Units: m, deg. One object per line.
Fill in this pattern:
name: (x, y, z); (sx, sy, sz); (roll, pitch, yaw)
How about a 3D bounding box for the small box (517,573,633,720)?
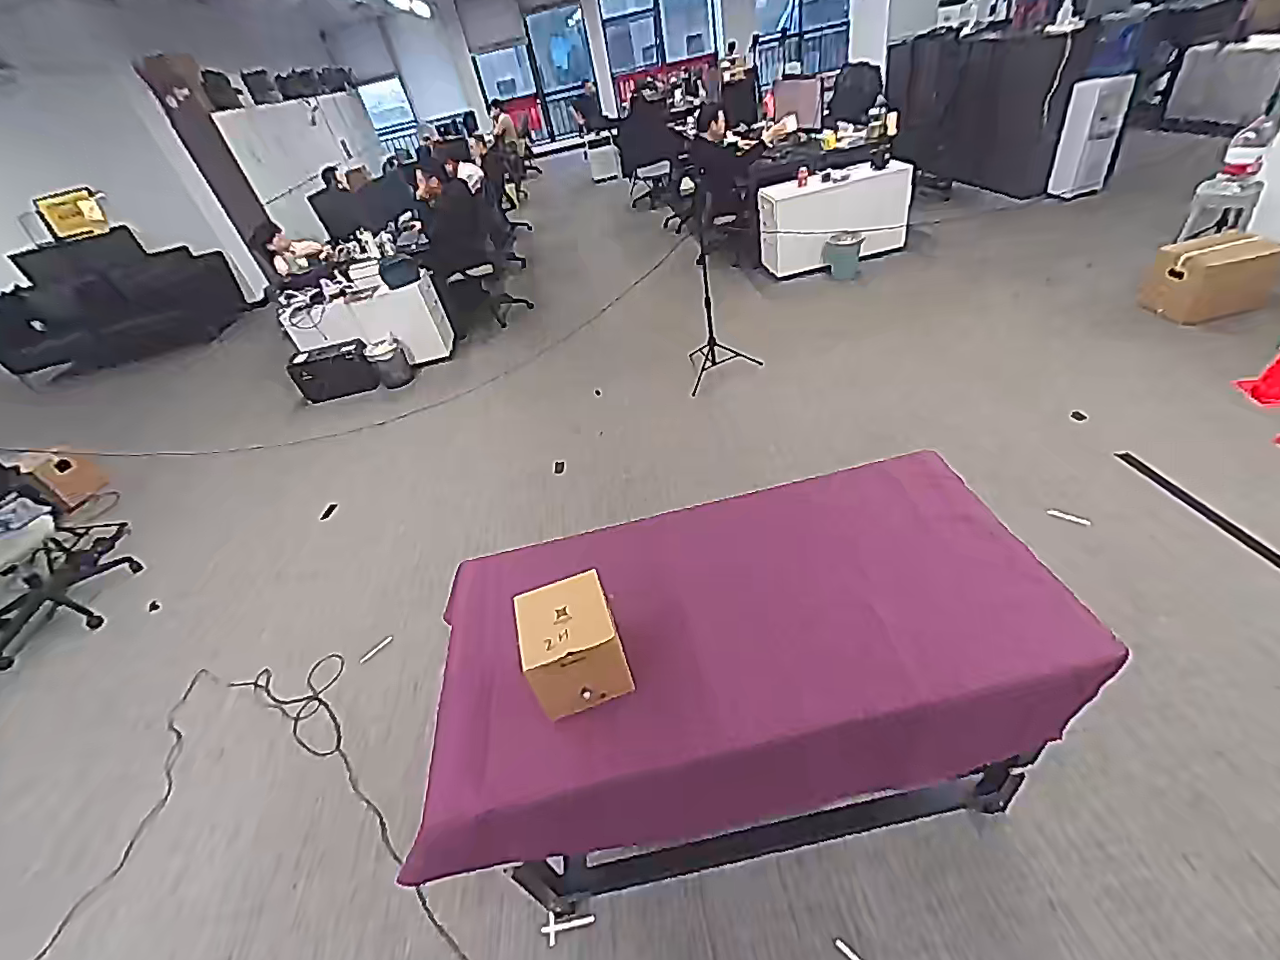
small box: (-0.123, 0.315, 1.026); (0.168, 0.176, 0.179); (-19, 39, -6)
